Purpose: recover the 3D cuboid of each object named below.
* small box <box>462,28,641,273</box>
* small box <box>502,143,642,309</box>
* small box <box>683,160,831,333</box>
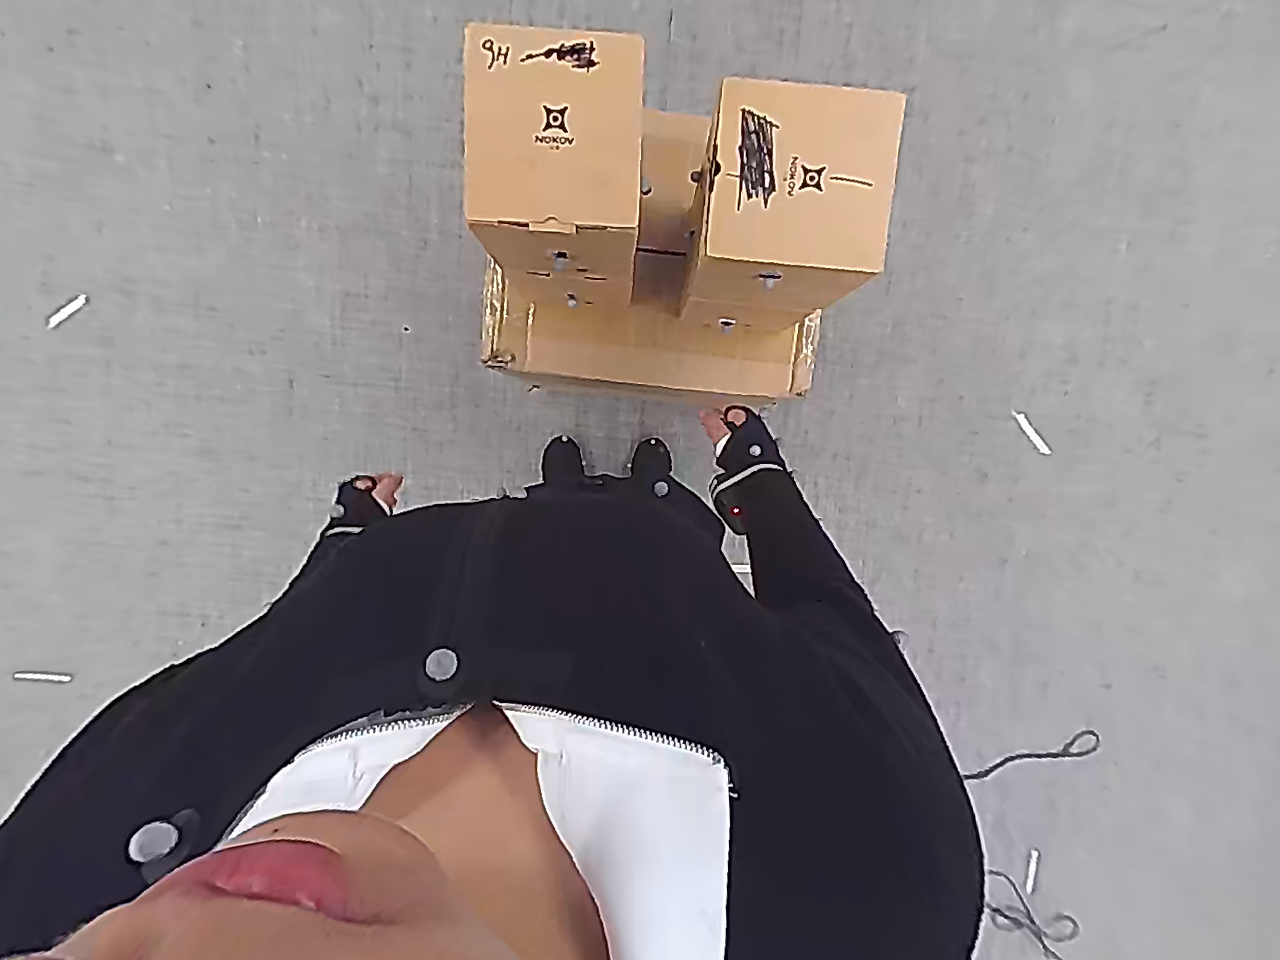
[{"bbox_3d":[-0.085,-0.335,0.587,0.168,0.176,0.179,2,96,-2],"label":"small box"},{"bbox_3d":[-0.089,-0.350,0.751,0.168,0.176,0.179,4,96,-2],"label":"small box"},{"bbox_3d":[0.152,-0.315,0.762,0.168,0.176,0.179,5,97,1],"label":"small box"}]
